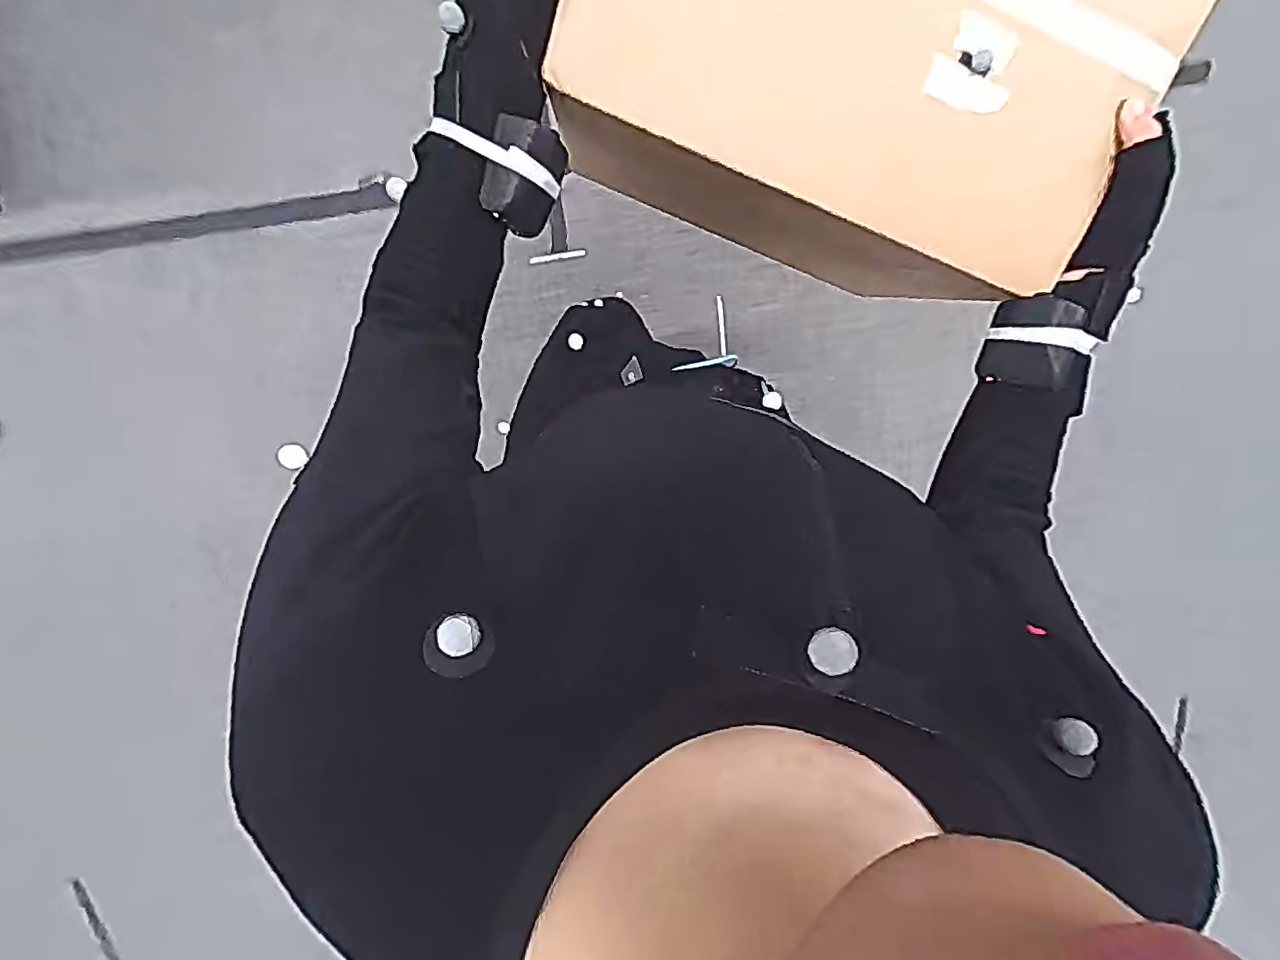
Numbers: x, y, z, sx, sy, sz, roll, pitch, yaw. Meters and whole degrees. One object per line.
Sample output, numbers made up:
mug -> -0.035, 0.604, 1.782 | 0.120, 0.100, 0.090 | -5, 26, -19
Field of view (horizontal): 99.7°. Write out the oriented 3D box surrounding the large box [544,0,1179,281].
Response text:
large box -> 0.155, -0.398, 0.490 | 0.408, 0.320, 0.320 | 17, 109, -10
